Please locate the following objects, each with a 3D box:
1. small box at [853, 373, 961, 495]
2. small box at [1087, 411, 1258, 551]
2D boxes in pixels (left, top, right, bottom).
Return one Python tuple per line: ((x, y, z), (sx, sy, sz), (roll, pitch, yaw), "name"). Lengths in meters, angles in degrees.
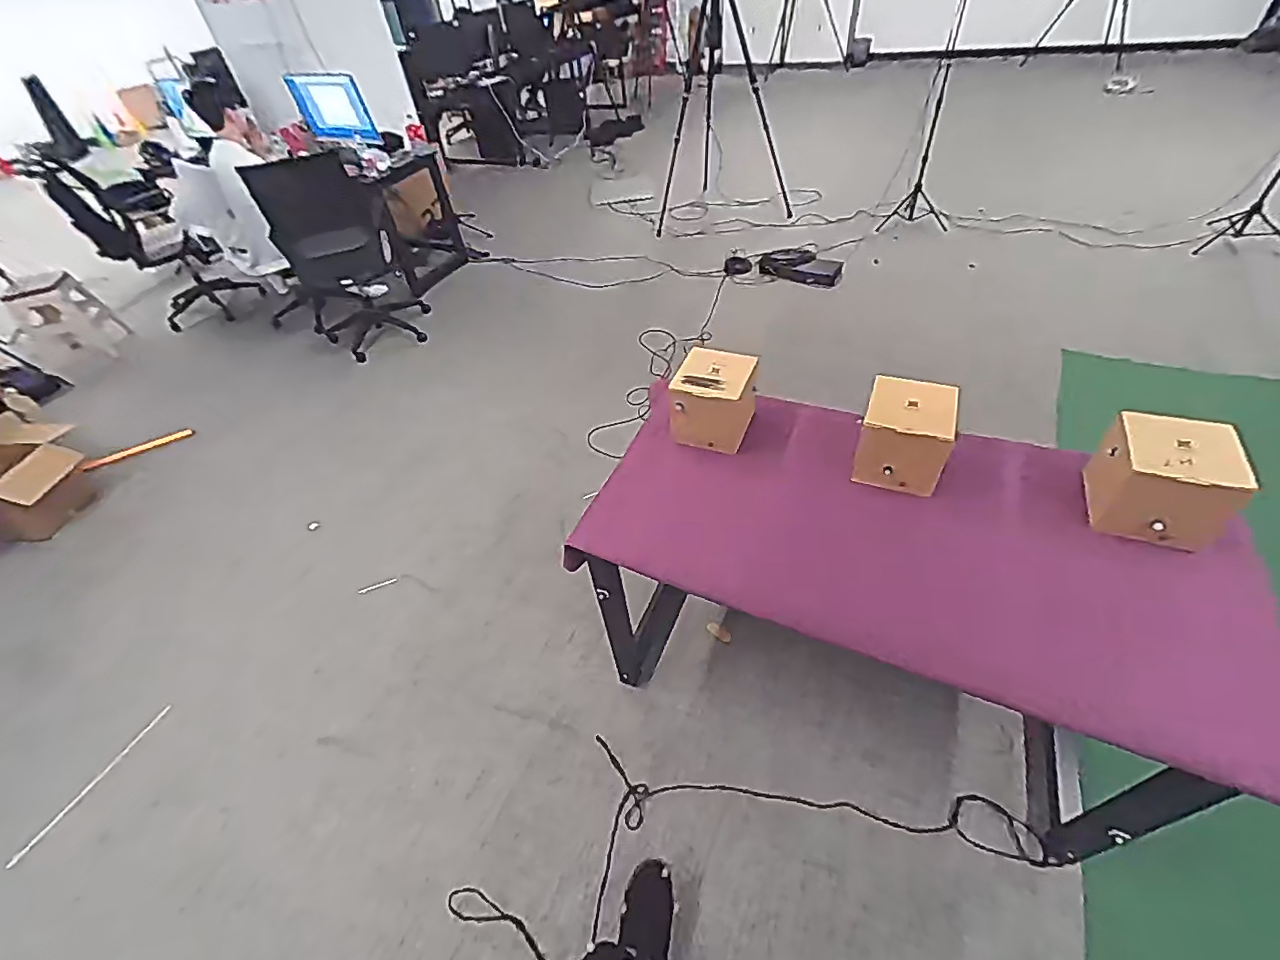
((0.567, -0.099, 1.161), (0.168, 0.176, 0.179), (15, 51, 20), "small box")
((0.970, 0.000, 1.009), (0.168, 0.176, 0.179), (13, 50, 23), "small box")
